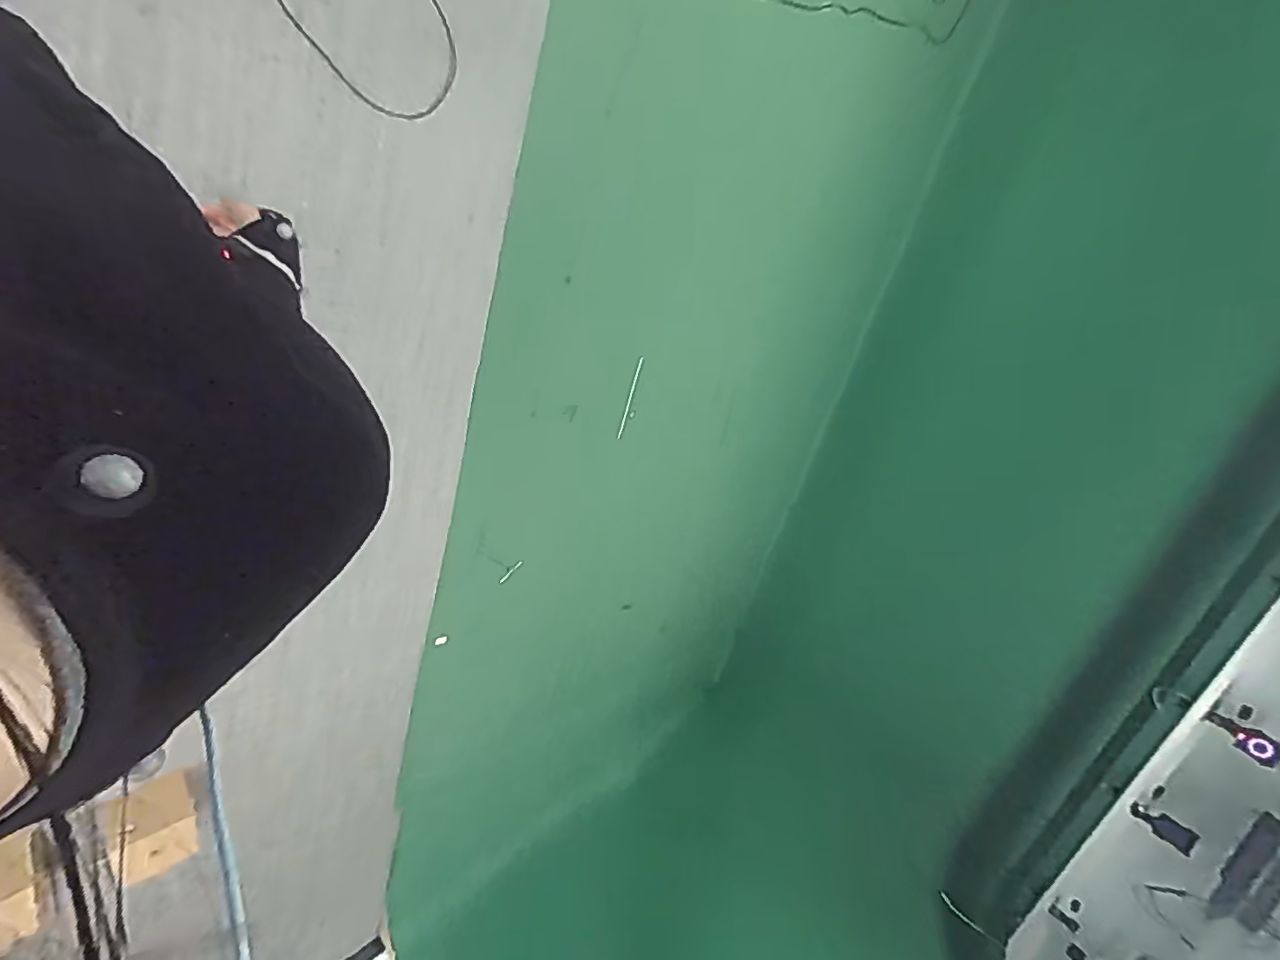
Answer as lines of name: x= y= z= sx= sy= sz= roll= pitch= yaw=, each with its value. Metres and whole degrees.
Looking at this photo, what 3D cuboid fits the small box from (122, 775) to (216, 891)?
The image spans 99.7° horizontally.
small box: x=-1.332 y=0.987 z=1.528 sx=0.179 sy=0.176 sz=0.168 roll=-12 pitch=123 yaw=-49
